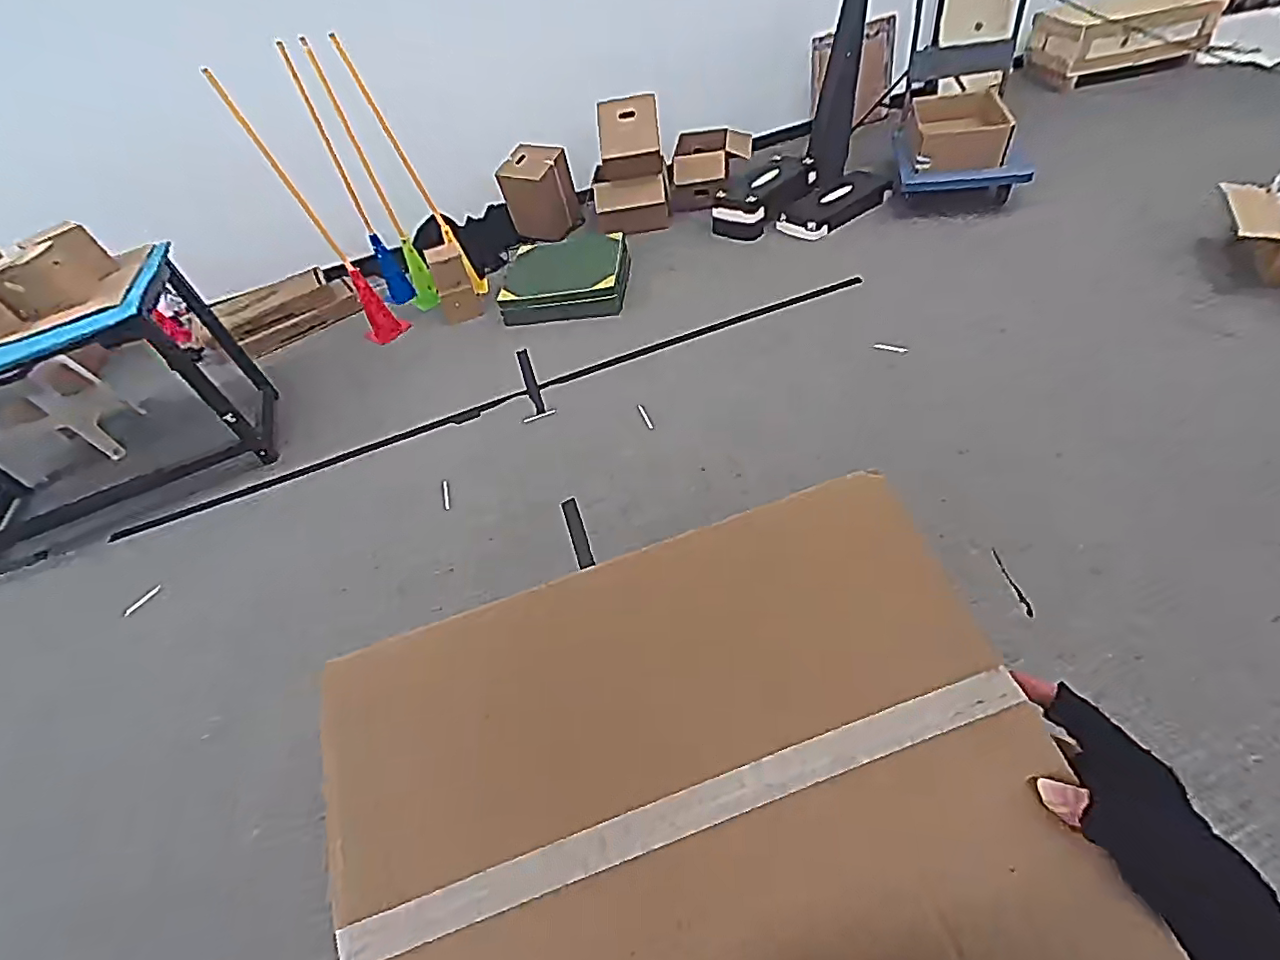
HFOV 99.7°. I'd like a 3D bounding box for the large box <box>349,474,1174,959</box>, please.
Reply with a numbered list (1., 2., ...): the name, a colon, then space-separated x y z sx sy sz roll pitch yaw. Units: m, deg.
1. large box: 0.047 0.254 0.452 0.408 0.320 0.320 -20 65 -3
